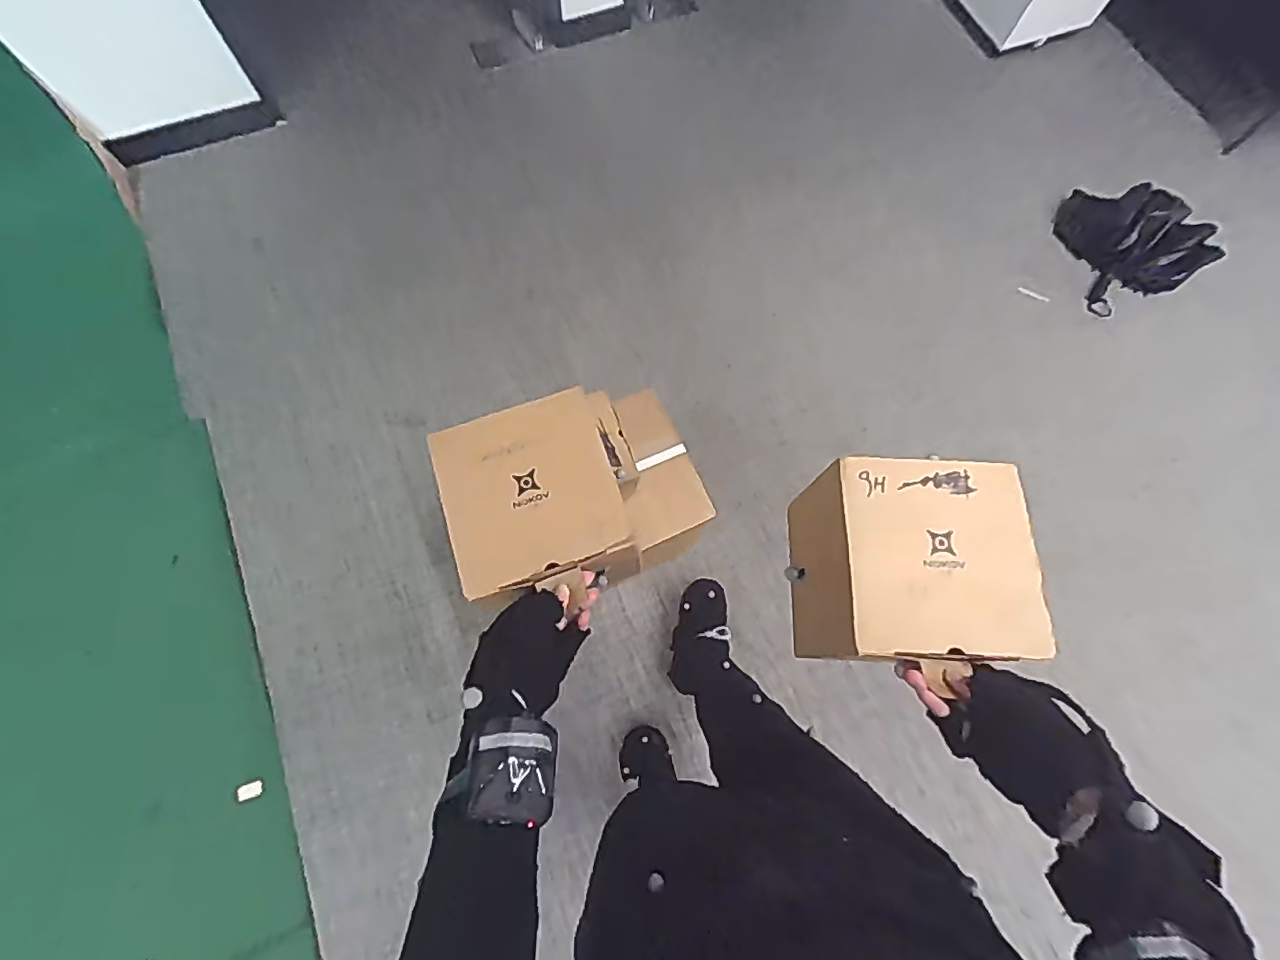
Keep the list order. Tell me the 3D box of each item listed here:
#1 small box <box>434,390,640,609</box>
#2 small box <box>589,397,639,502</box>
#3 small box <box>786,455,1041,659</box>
[{"bbox_3d":[-0.103,0.035,0.604,0.168,0.176,0.179,-19,70,-6],"label":"small box"},{"bbox_3d":[-0.113,-0.027,0.984,0.179,0.176,0.168,-16,77,-8],"label":"small box"},{"bbox_3d":[0.256,0.088,0.553,0.168,0.176,0.179,3,71,-2],"label":"small box"}]
